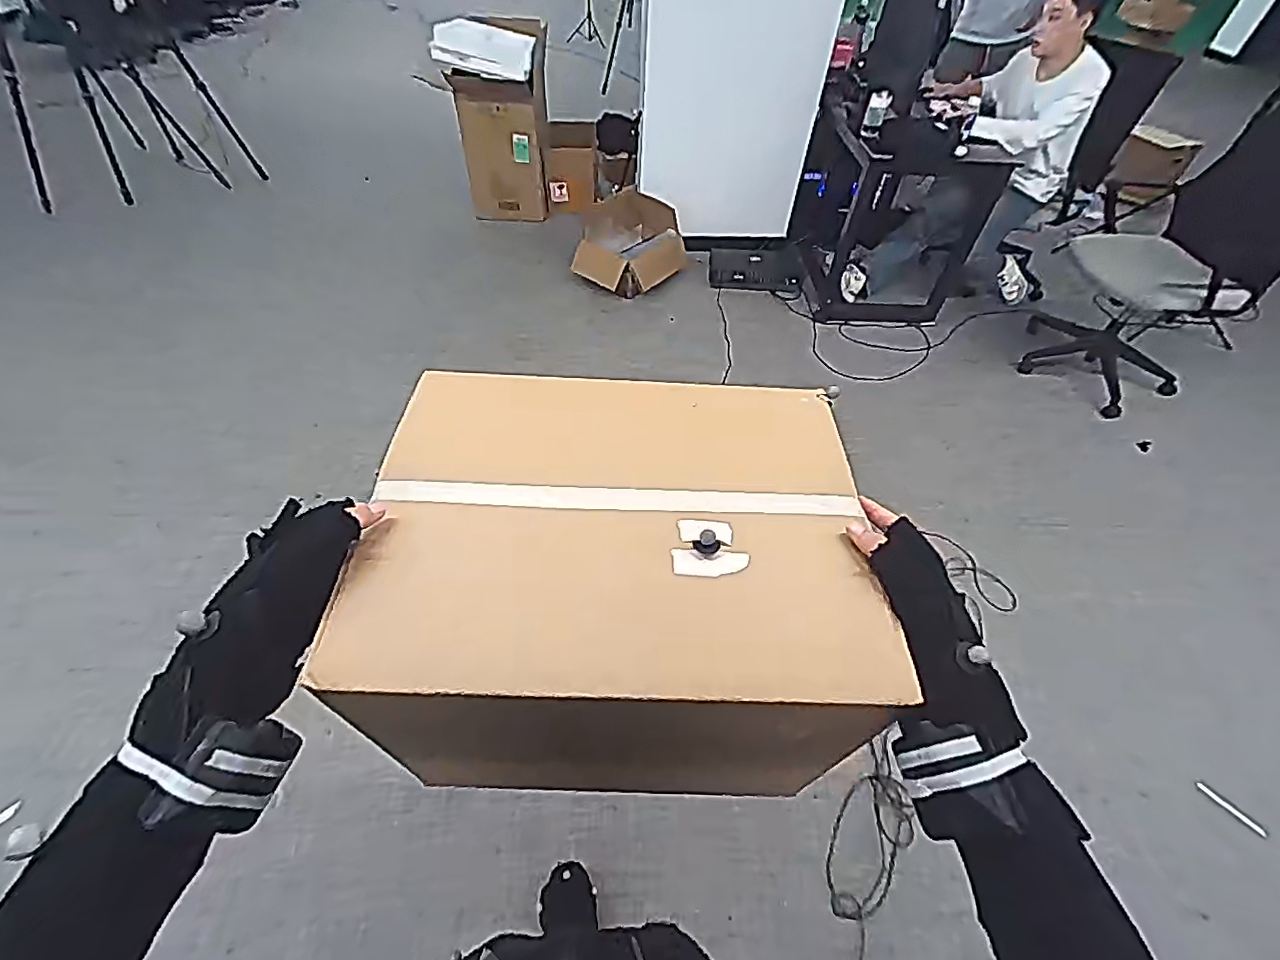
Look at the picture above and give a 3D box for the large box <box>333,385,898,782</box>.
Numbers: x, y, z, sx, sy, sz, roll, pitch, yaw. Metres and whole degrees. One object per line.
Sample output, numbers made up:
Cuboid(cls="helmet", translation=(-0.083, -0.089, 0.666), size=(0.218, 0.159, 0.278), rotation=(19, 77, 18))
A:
Cuboid(cls="large box", translation=(-0.023, 0.120, 0.582), size=(0.408, 0.320, 0.320), rotation=(3, 50, -2))
